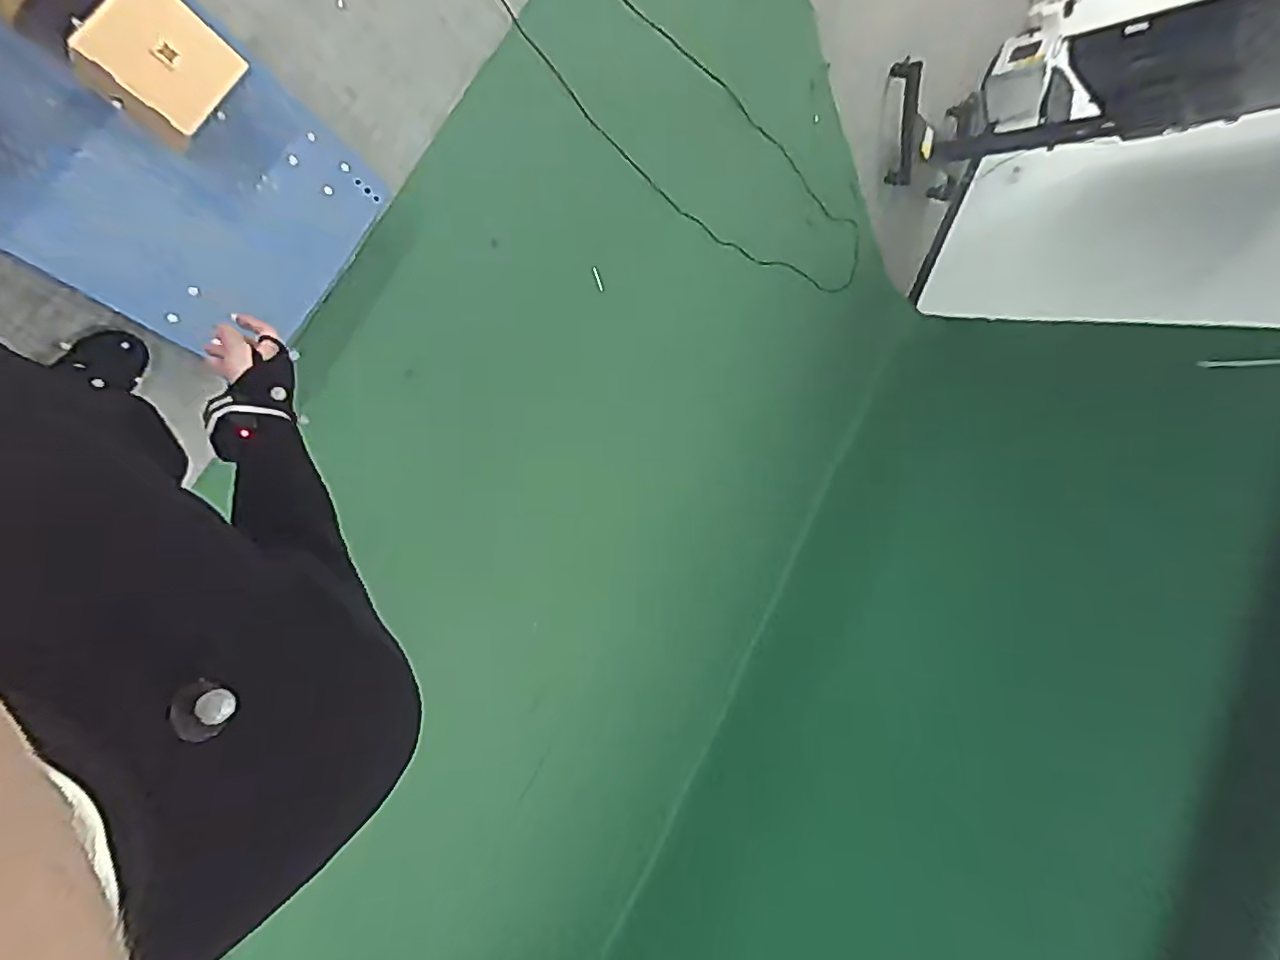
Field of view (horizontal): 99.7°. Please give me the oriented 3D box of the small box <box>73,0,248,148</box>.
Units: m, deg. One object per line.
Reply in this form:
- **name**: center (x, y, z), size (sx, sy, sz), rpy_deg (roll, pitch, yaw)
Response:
- **small box**: center (-0.843, -0.726, 0.951), size (0.168, 0.176, 0.179), rpy_deg (39, 77, -46)
